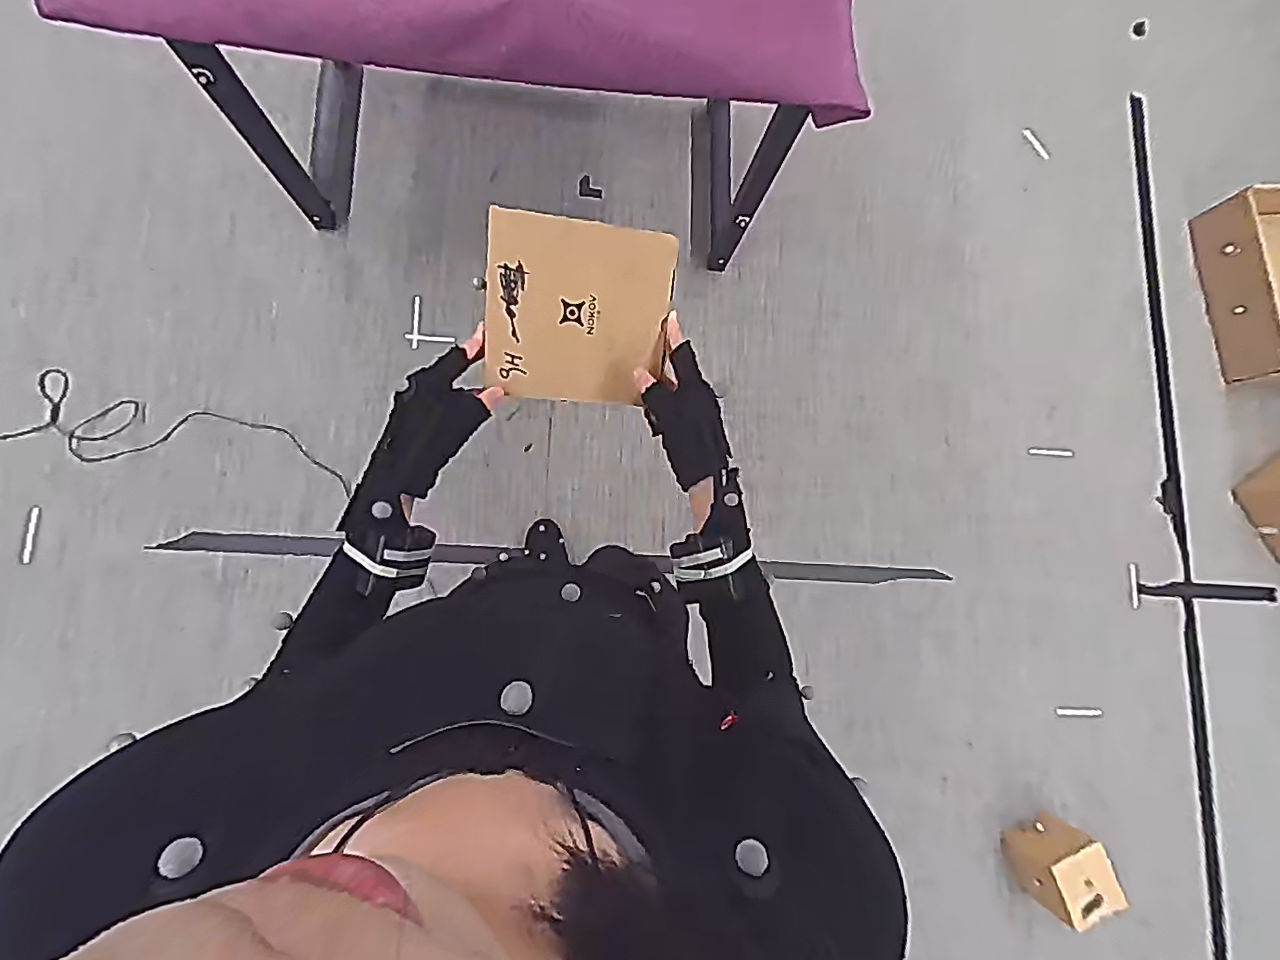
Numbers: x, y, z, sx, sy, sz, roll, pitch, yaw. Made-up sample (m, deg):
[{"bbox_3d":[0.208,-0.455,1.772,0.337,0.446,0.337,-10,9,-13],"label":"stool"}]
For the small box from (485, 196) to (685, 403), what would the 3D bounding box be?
[{"bbox_3d":[-0.070,-0.182,0.576,0.179,0.176,0.168,3,105,-15],"label":"small box"}]

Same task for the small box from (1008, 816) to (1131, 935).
[{"bbox_3d":[1.170,1.076,1.485,0.168,0.176,0.179,-20,85,-9],"label":"small box"}]
